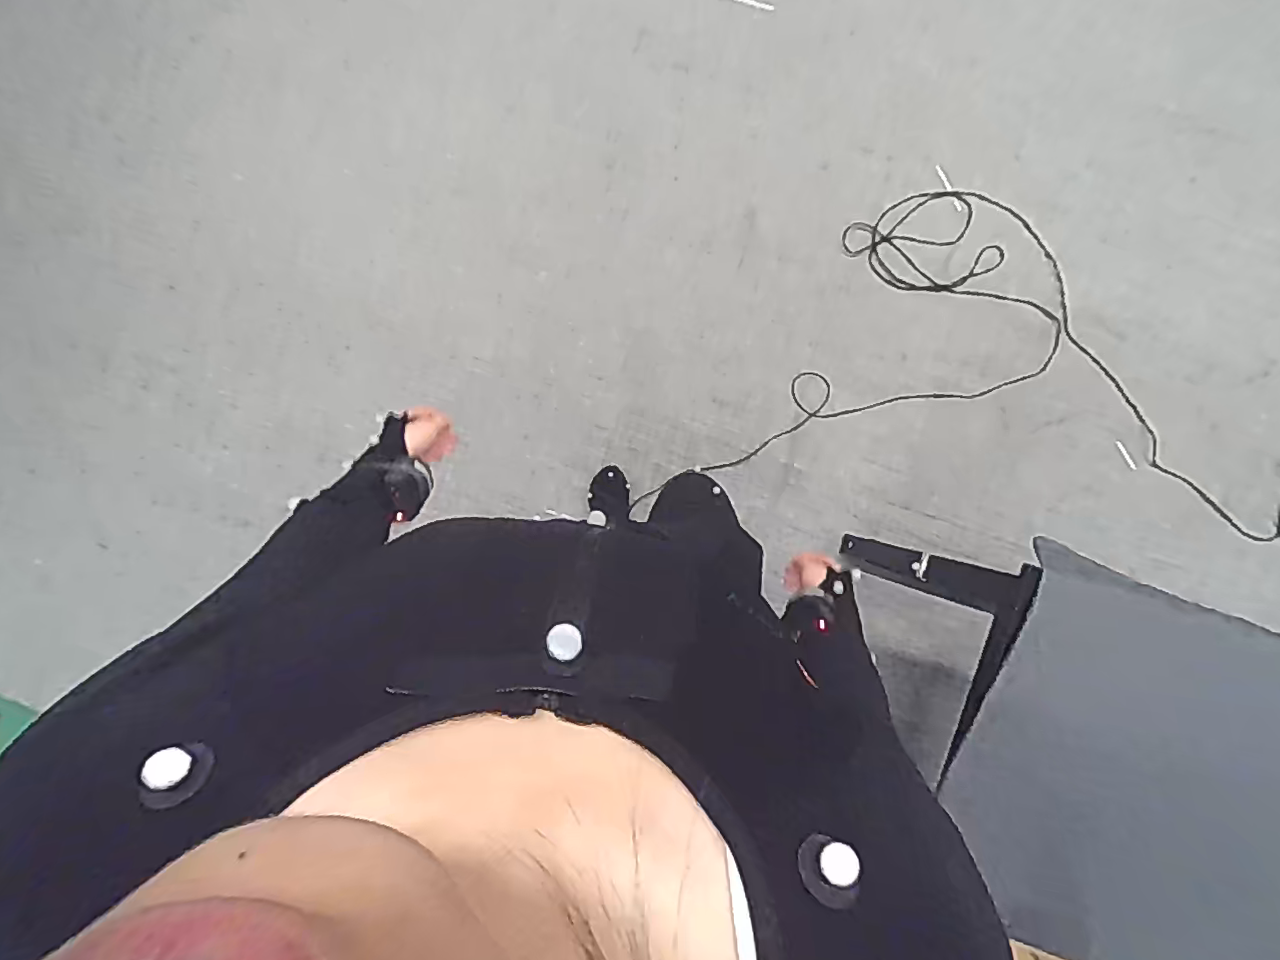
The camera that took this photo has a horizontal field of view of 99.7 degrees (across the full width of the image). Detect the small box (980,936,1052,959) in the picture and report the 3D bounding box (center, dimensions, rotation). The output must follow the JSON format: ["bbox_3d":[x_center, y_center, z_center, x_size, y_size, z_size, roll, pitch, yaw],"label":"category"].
[{"bbox_3d":[0.528,0.729,0.668,0.168,0.176,0.179,21,89,-1],"label":"small box"}]
